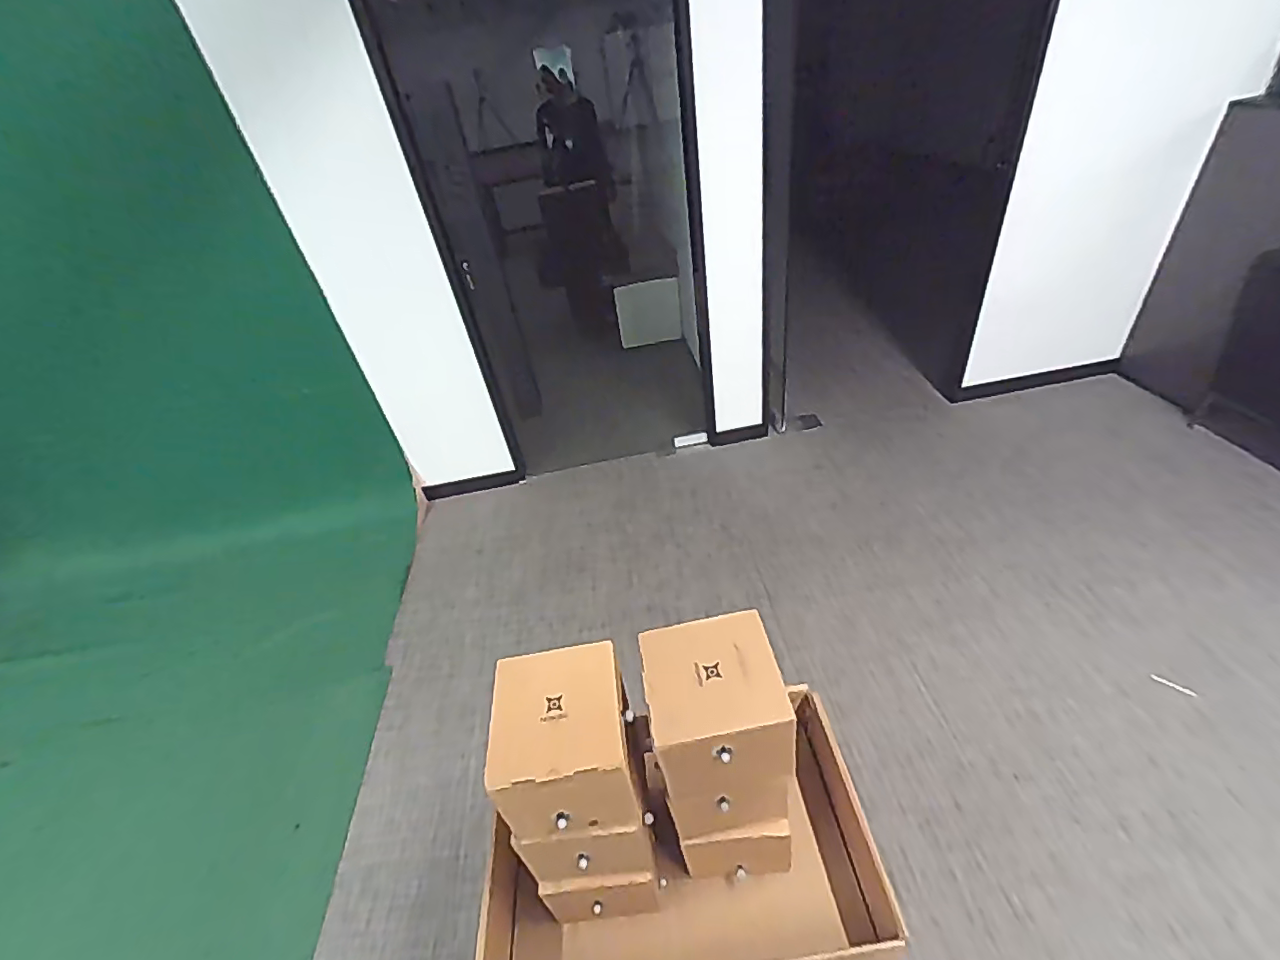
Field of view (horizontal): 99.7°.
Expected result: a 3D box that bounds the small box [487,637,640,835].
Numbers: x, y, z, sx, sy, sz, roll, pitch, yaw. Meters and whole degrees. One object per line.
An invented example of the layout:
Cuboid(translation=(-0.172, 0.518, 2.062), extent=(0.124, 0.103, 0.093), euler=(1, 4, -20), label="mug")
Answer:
Cuboid(translation=(-0.098, 0.348, 0.742), extent=(0.168, 0.176, 0.179), euler=(-10, 38, -1), label="small box")
